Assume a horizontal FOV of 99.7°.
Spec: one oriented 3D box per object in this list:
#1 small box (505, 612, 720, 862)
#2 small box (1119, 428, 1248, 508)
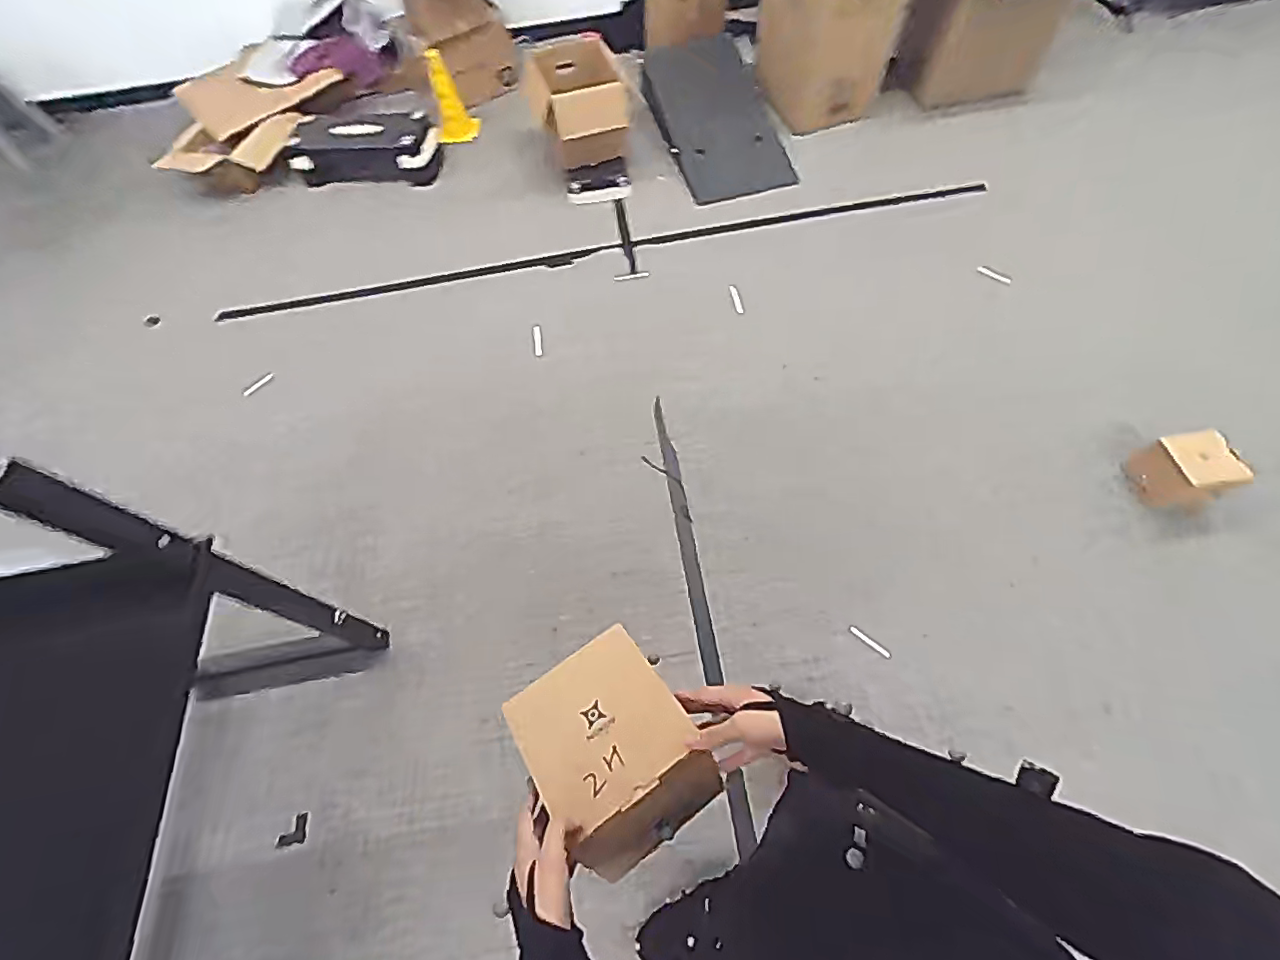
[{"bbox_3d":[-0.027,0.297,0.629,0.168,0.176,0.179,-32,46,-14],"label":"small box"},{"bbox_3d":[1.599,-0.032,1.605,0.179,0.176,0.168,-8,60,0],"label":"small box"}]
